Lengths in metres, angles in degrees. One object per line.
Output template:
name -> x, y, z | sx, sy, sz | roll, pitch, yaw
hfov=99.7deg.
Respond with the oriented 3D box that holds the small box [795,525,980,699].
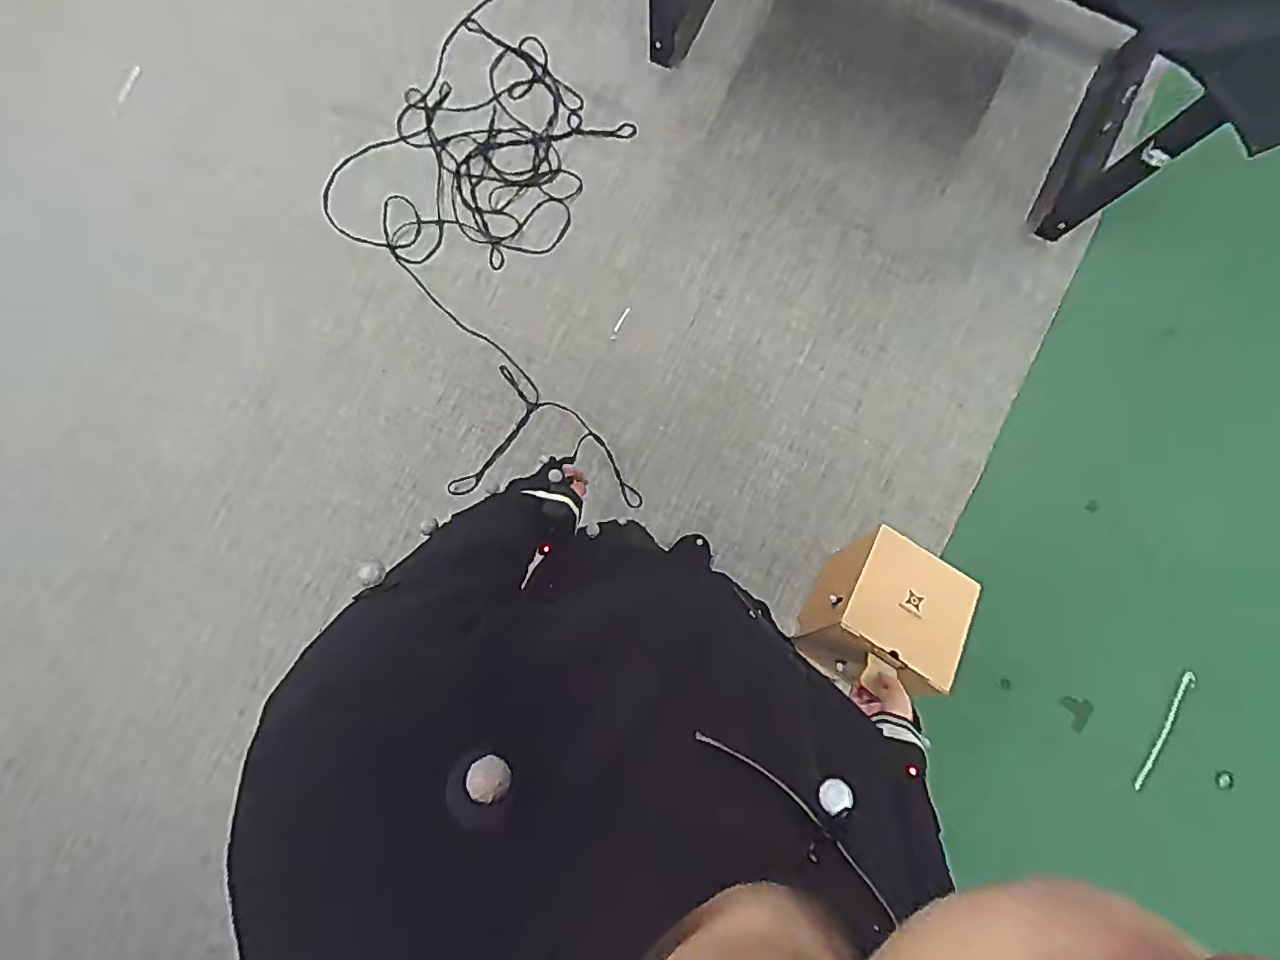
small box -> 0.359, 0.203, 0.808 | 0.168, 0.176, 0.179 | 33, 63, 5
